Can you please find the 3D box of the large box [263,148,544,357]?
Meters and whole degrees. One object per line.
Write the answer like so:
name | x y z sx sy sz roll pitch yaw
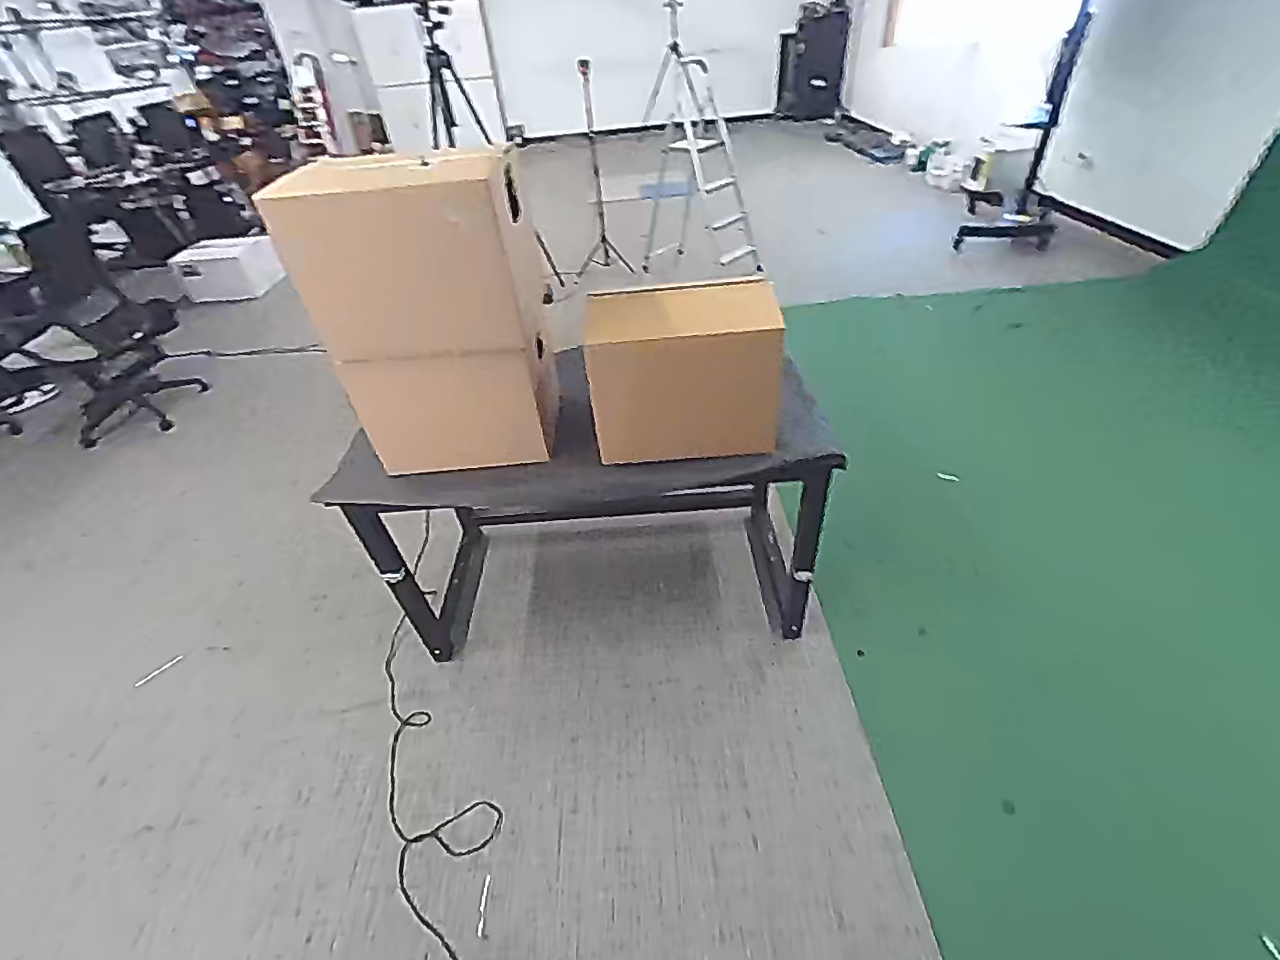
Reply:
large box | -0.434 -0.468 1.109 0.408 0.320 0.320 -3 42 1
